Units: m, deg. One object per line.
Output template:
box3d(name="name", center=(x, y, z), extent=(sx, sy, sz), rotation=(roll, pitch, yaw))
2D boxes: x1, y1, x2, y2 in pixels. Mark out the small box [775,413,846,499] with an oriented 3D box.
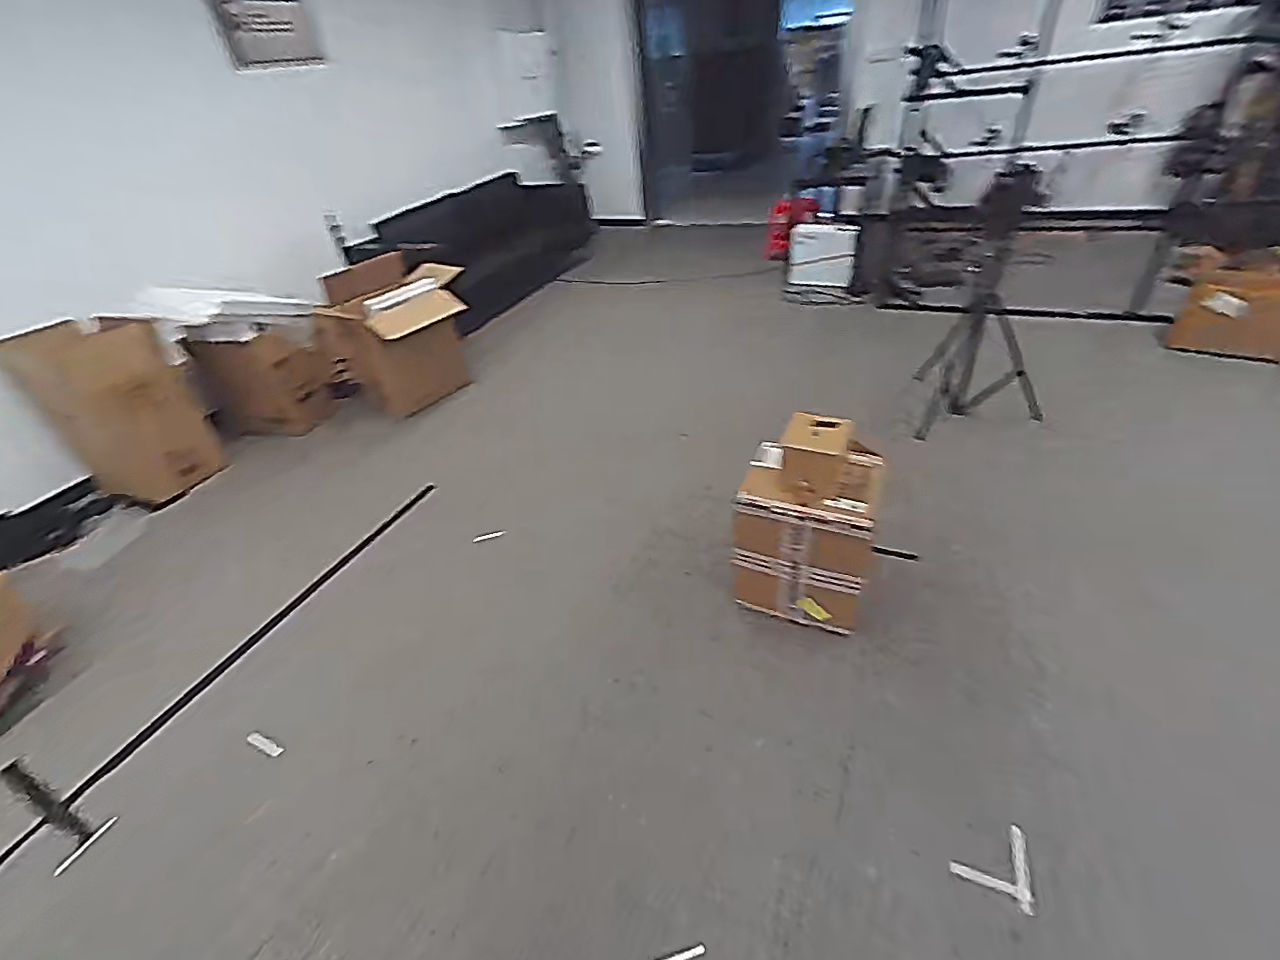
box3d(name="small box", center=(0.499, -0.072, 1.597), extent=(0.168, 0.176, 0.179), rotation=(12, 45, 25))
